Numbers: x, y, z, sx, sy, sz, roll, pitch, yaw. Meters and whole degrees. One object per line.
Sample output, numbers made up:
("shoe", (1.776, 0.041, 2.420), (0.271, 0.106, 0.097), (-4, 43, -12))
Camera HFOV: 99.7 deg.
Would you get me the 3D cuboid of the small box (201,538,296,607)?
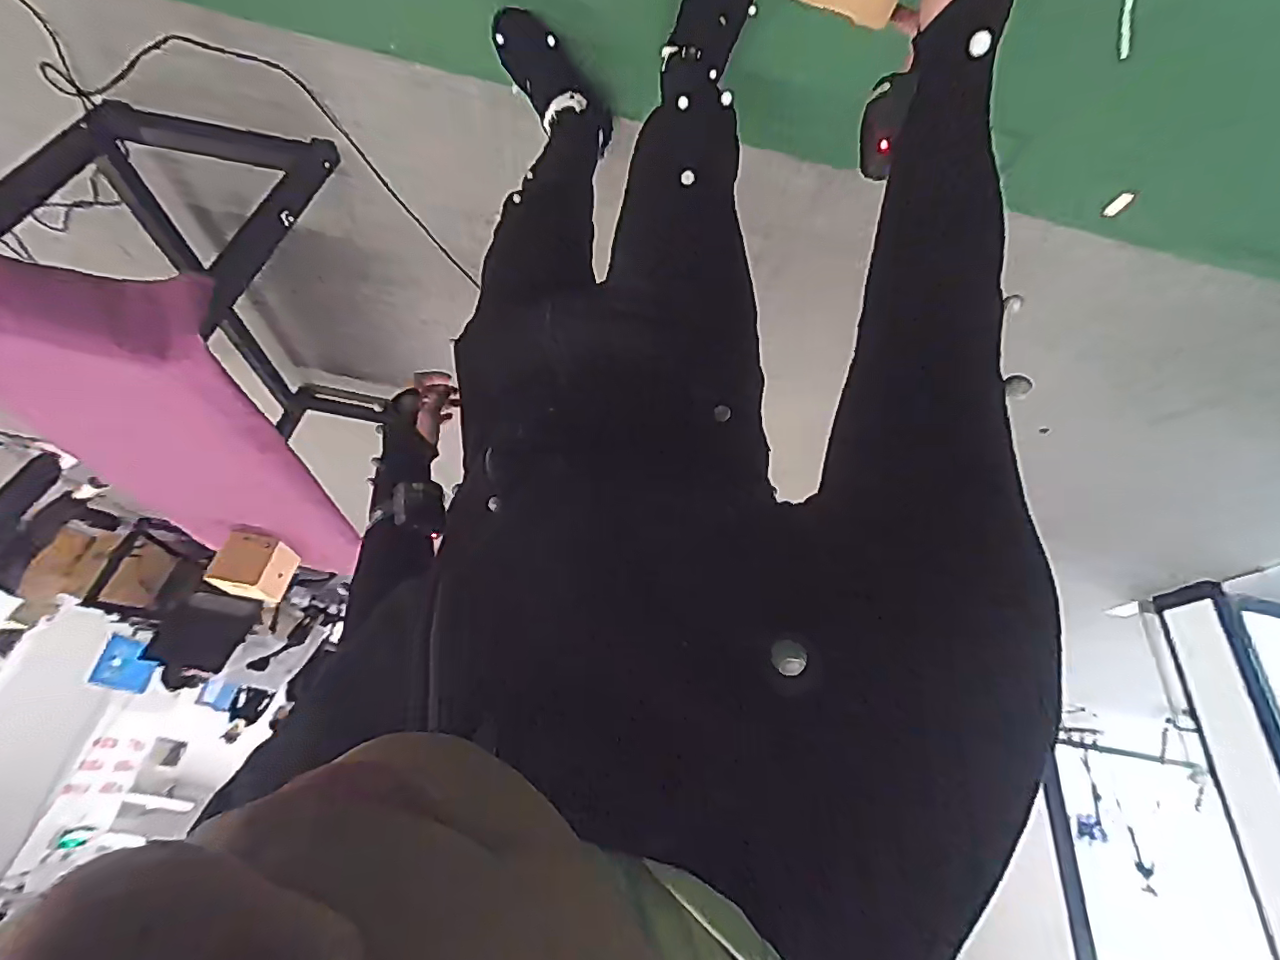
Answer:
("small box", (-1.292, 0.306, 1.797), (0.168, 0.176, 0.179), (12, 151, -3))
